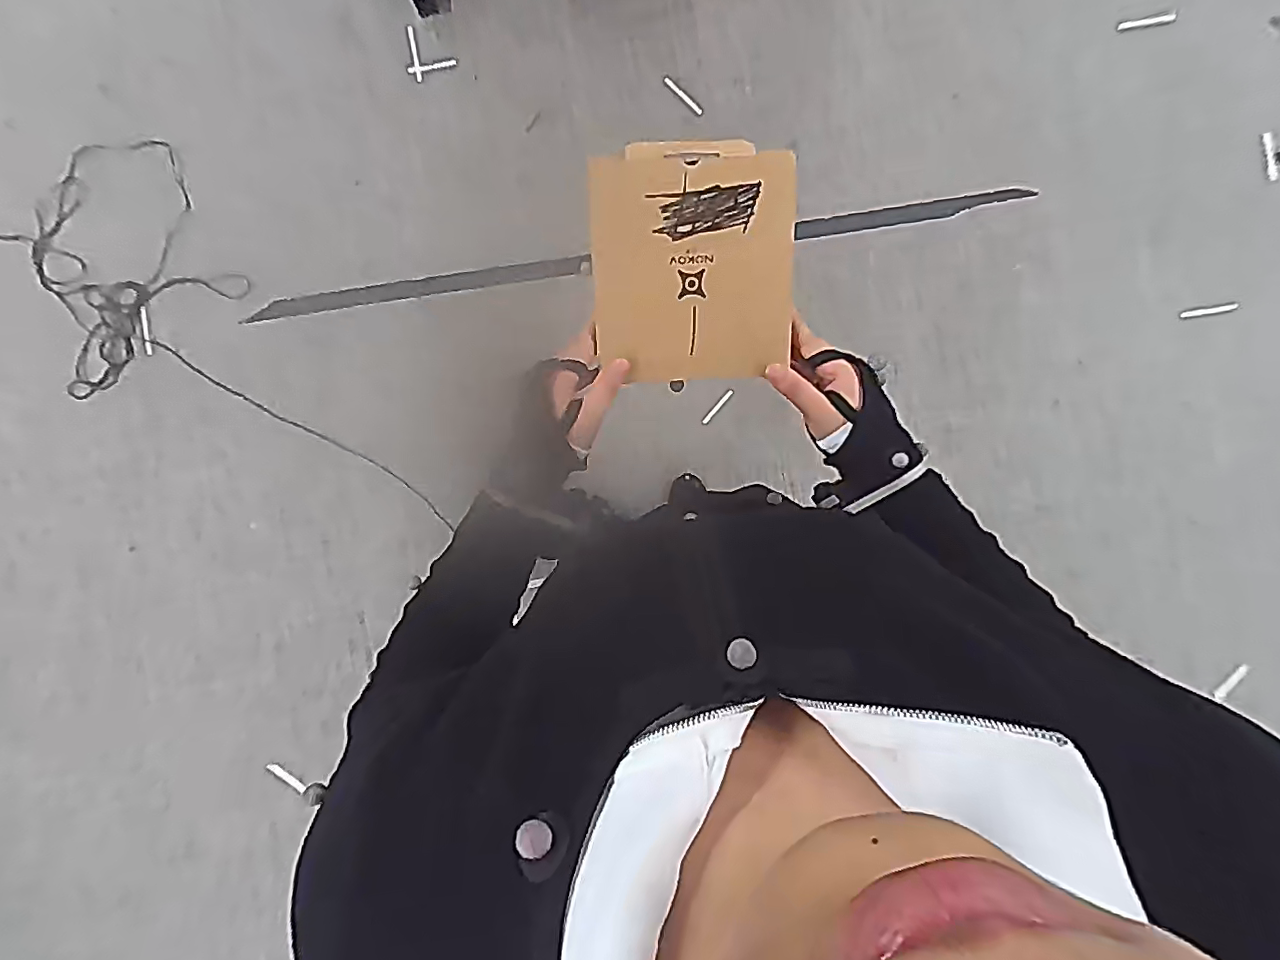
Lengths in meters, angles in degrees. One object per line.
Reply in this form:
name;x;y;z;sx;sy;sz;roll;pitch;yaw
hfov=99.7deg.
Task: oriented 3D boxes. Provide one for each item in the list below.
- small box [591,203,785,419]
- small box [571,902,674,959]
small box;0.038;-0.158;0.538;0.168;0.176;0.179;-2;104;-1
small box;-0.028;0.898;0.961;0.179;0.176;0.168;-6;90;2
